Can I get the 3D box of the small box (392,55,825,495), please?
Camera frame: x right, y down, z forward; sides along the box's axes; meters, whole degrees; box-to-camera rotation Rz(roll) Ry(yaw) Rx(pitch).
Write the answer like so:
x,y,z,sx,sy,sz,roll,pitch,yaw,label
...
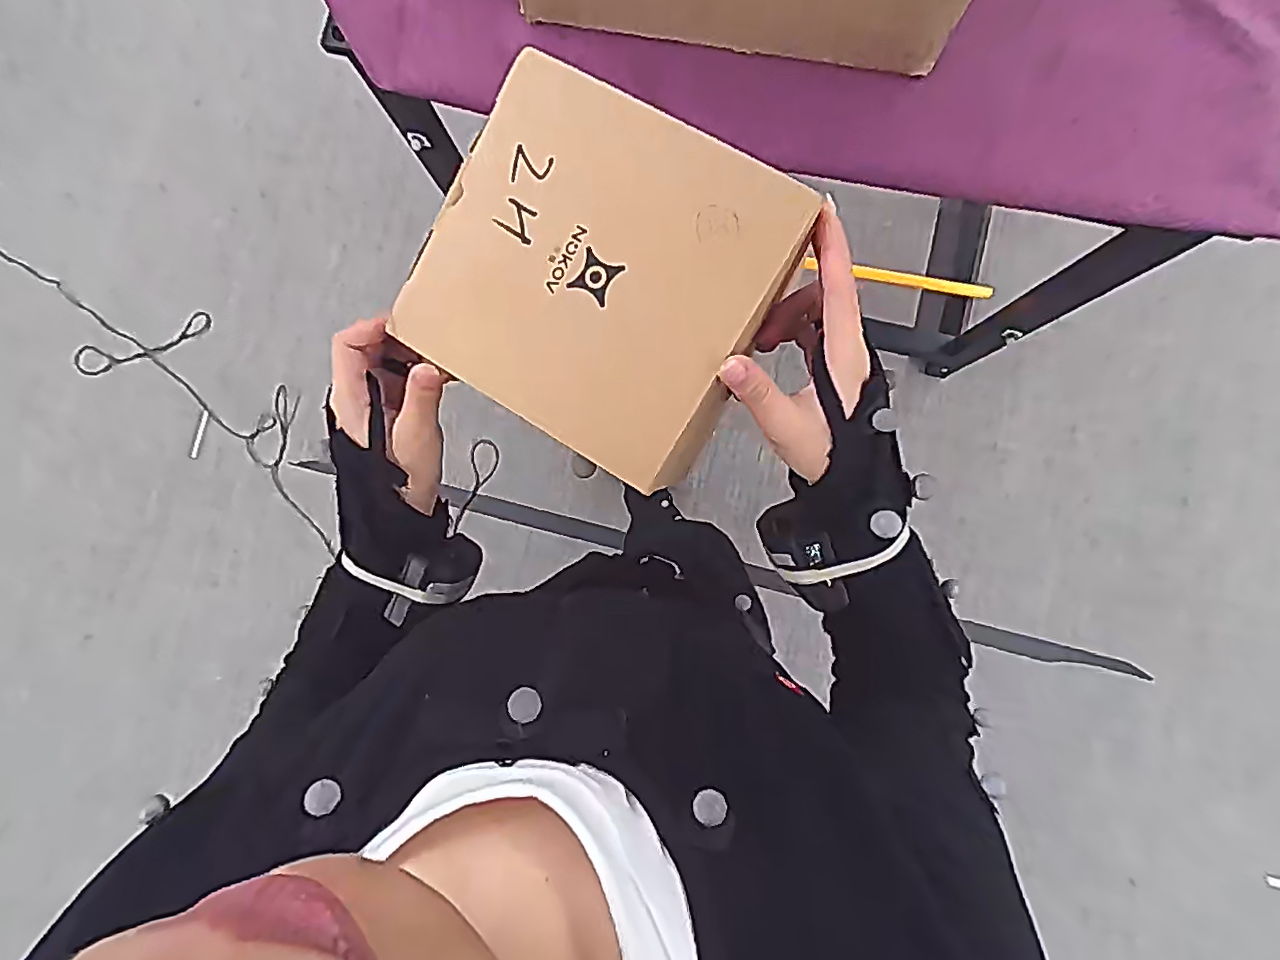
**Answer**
x,y,z,sx,sy,sz,roll,pitch,yaw,label
-0.010,-0.108,0.355,0.179,0.176,0.168,32,96,8,small box
